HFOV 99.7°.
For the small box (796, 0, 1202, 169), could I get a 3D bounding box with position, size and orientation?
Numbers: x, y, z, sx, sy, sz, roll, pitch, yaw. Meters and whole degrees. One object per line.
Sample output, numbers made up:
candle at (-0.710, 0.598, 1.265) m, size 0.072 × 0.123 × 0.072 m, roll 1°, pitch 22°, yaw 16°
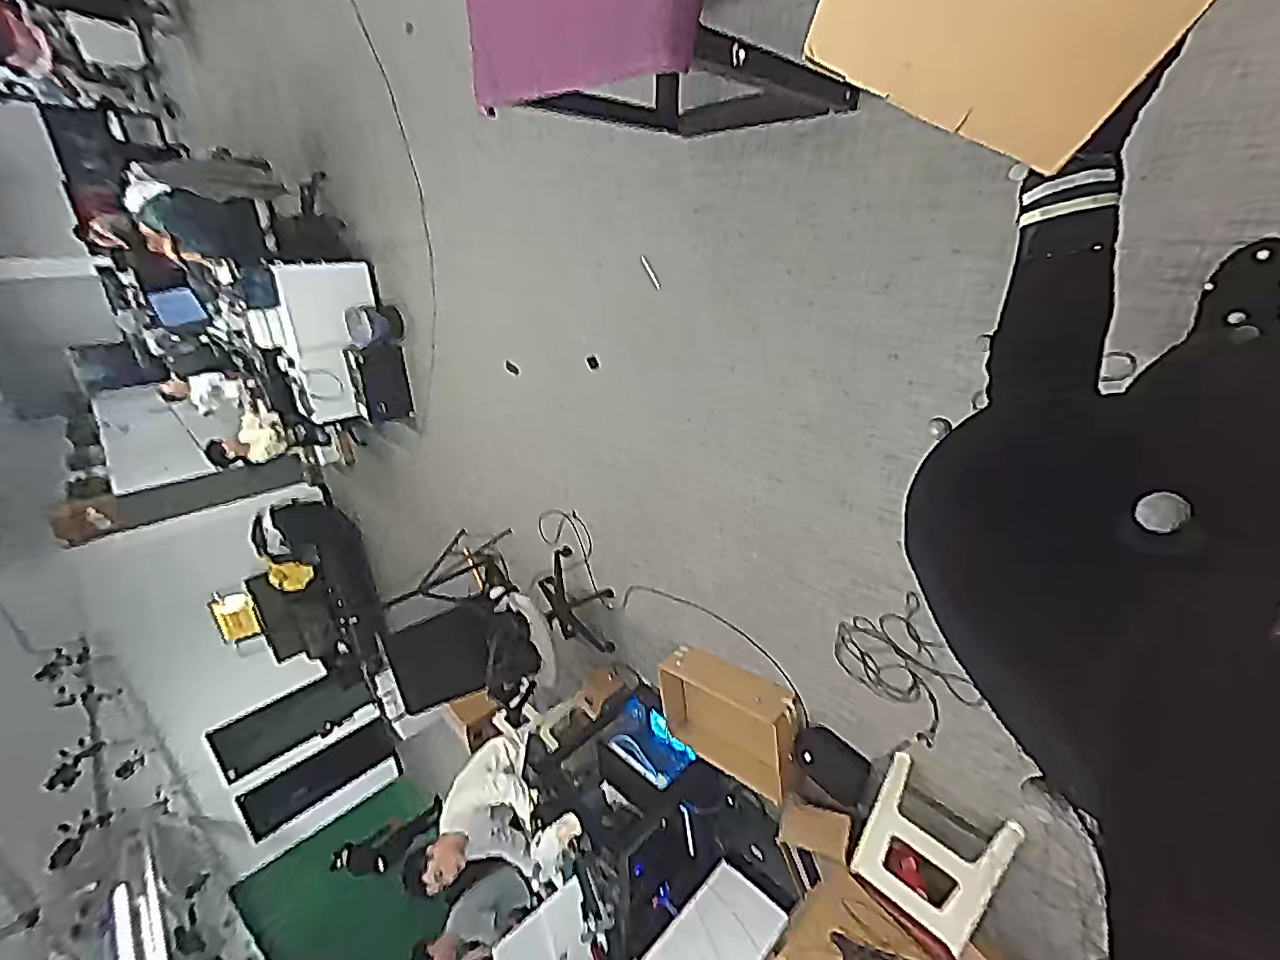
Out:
small box at (0.207, -0.304, 0.260) m, size 0.168 × 0.179 × 0.176 m, roll 32°, pitch 159°, yaw 7°
